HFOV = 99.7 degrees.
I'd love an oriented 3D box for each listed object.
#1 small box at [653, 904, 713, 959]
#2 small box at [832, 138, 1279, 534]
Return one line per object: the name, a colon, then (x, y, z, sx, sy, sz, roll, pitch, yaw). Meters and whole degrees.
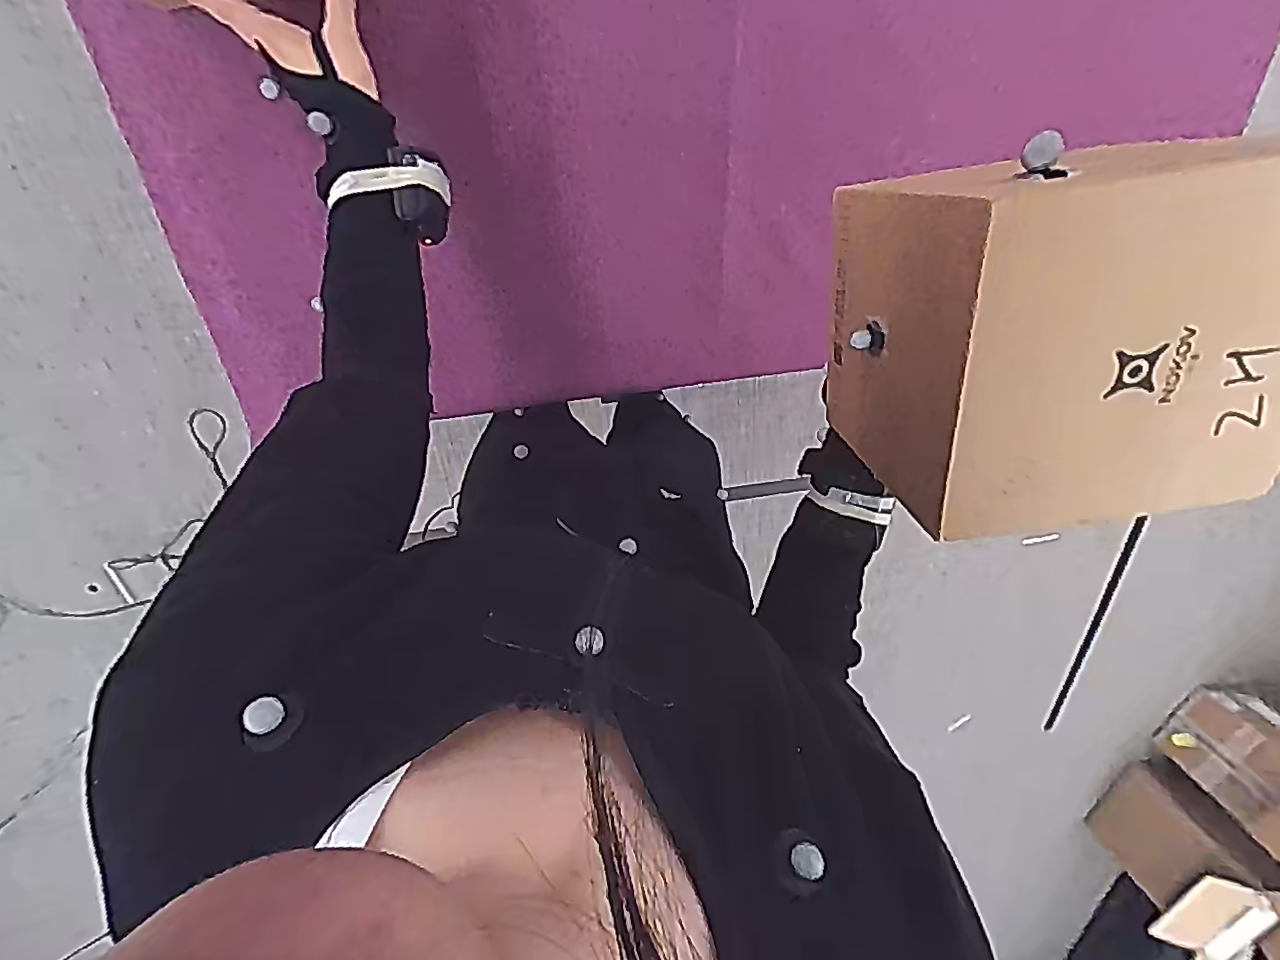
small box: (0.139, 1.564, 1.820, 0.168, 0.176, 0.179, -4, 118, -9)
small box: (0.227, -0.091, 0.318, 0.179, 0.176, 0.168, -9, 120, 1)
